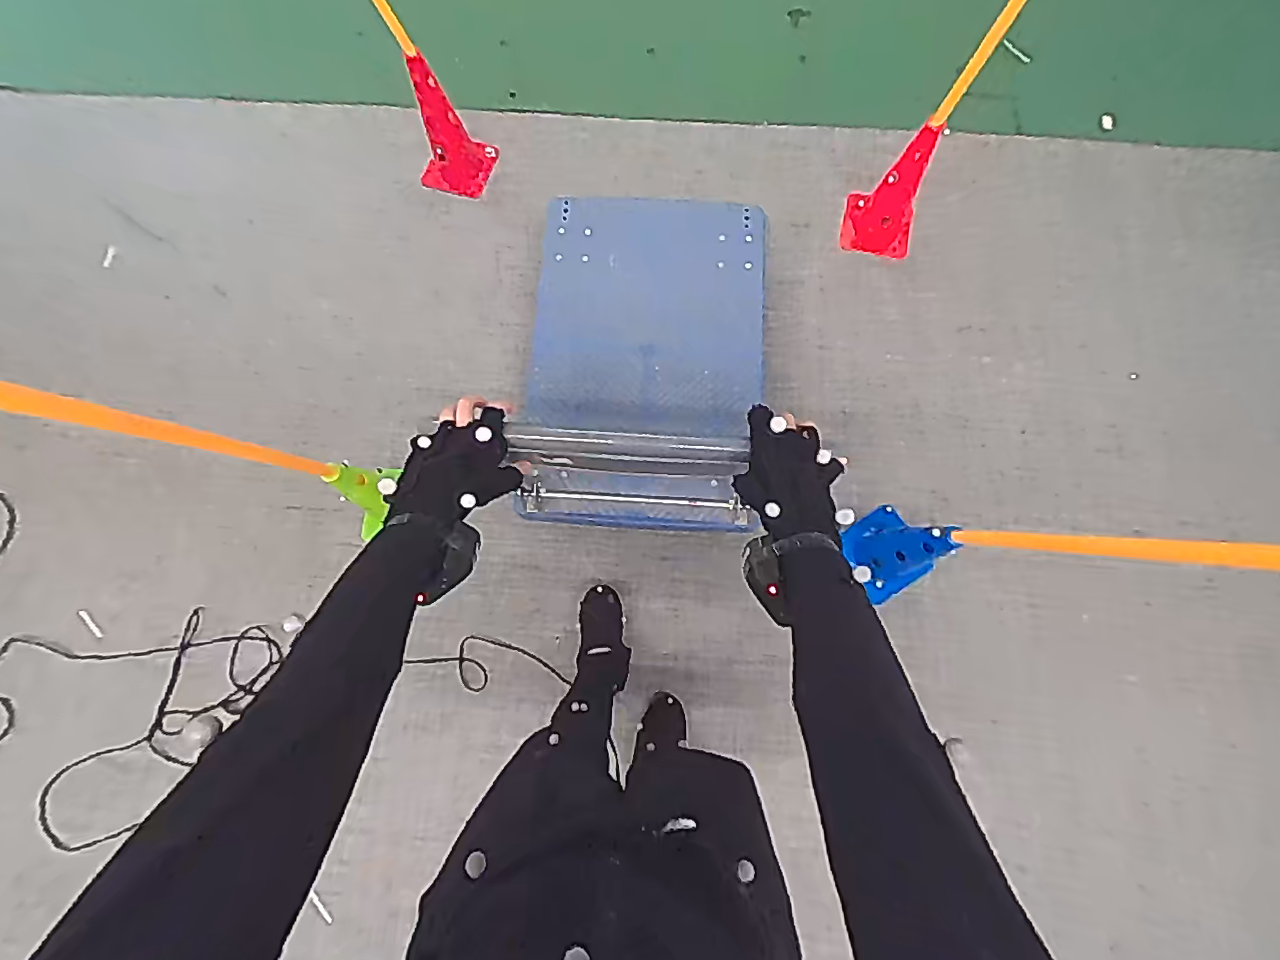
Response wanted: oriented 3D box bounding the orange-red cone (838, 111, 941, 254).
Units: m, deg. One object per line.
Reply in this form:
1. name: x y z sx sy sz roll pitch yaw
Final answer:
1. orange-red cone: 0.694 -0.806 1.436 0.198 0.360 0.199 15 78 6
